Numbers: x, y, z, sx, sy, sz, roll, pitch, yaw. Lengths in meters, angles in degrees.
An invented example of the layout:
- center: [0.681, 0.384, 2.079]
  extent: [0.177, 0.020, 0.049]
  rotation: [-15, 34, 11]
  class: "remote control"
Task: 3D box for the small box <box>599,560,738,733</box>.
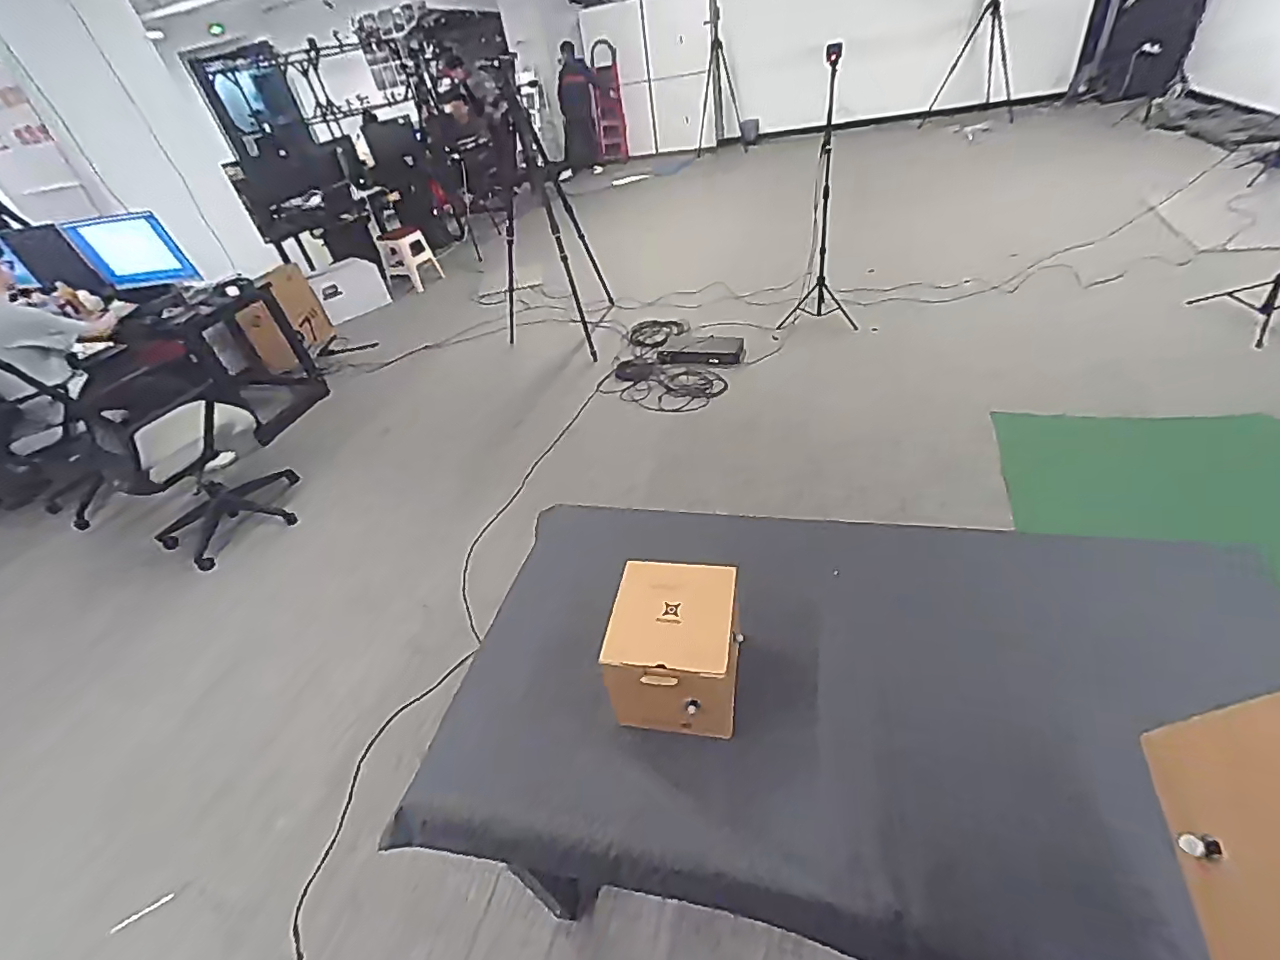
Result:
- center: [0.053, 0.240, 0.785]
  extent: [0.168, 0.176, 0.179]
  rotation: [2, 40, 13]
  class: "small box"
